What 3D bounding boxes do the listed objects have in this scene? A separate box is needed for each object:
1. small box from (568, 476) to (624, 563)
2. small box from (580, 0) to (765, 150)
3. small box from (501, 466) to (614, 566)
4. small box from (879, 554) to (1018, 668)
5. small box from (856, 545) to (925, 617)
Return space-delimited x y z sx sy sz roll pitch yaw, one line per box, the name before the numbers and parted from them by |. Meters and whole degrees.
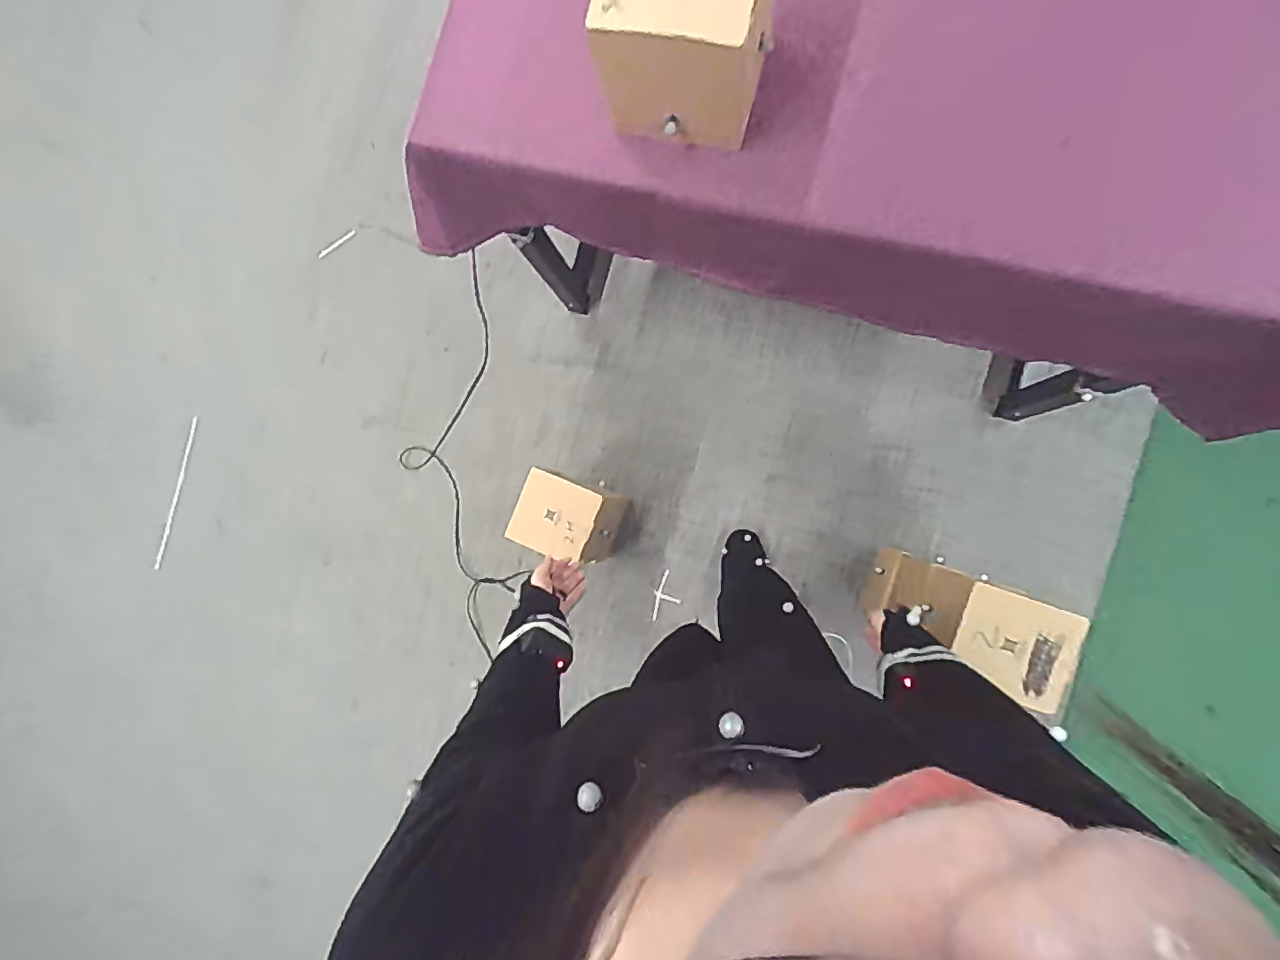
small box | -0.150 0.096 1.387 0.168 0.176 0.179 19 90 8
small box | 0.049 -0.531 0.646 0.179 0.176 0.168 15 89 8
small box | -0.178 0.080 1.225 0.179 0.176 0.168 23 91 8
small box | 0.616 0.255 1.106 0.179 0.176 0.168 17 91 7
small box | 0.631 0.257 1.268 0.179 0.176 0.168 20 91 8
